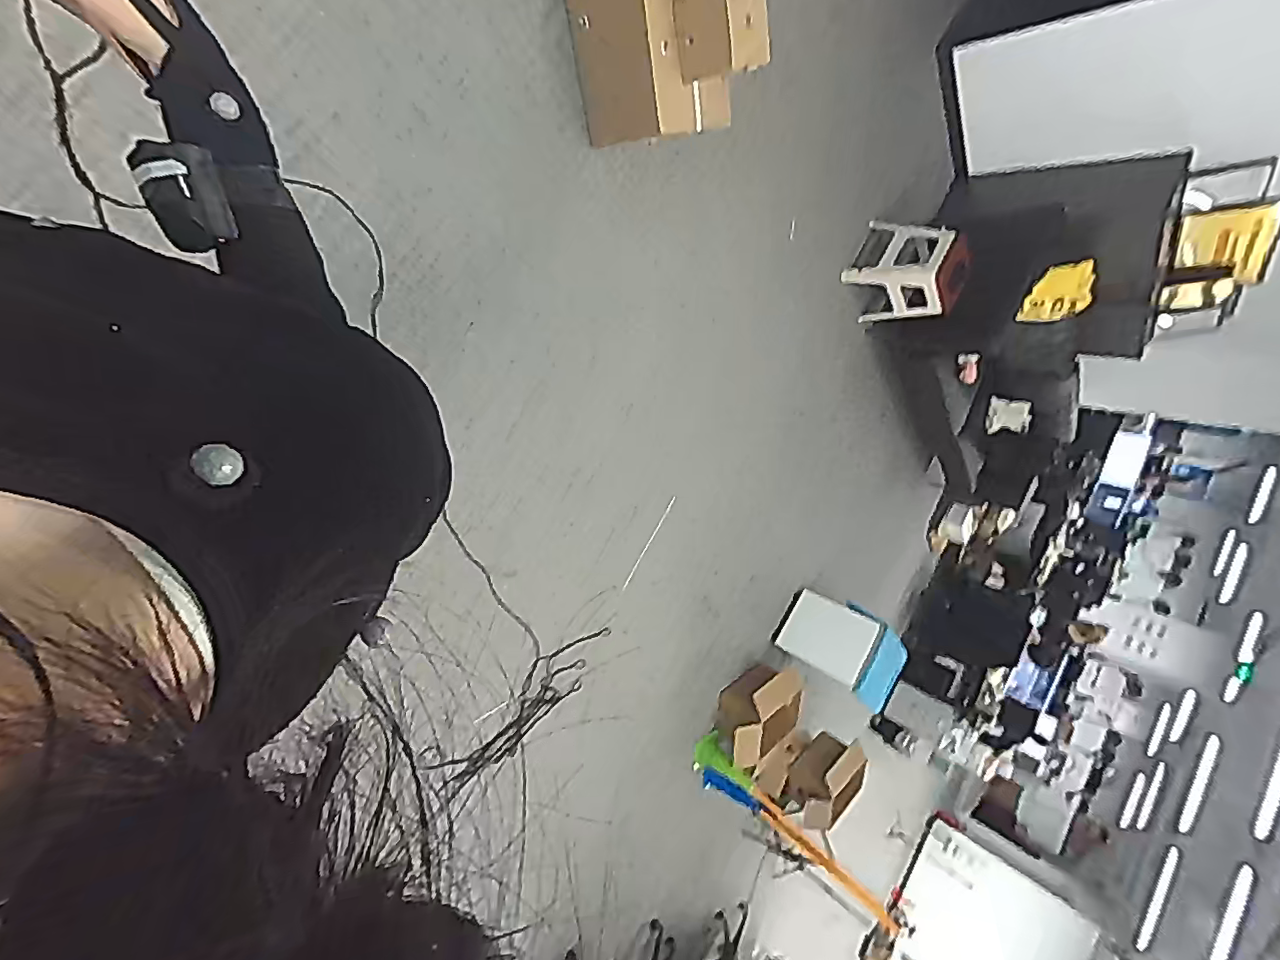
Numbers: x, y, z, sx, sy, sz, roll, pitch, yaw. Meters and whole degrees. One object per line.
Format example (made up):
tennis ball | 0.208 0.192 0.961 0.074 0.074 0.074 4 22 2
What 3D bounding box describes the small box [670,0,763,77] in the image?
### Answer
small box | 0.198 -1.168 1.399 0.168 0.176 0.179 -37 130 -32
